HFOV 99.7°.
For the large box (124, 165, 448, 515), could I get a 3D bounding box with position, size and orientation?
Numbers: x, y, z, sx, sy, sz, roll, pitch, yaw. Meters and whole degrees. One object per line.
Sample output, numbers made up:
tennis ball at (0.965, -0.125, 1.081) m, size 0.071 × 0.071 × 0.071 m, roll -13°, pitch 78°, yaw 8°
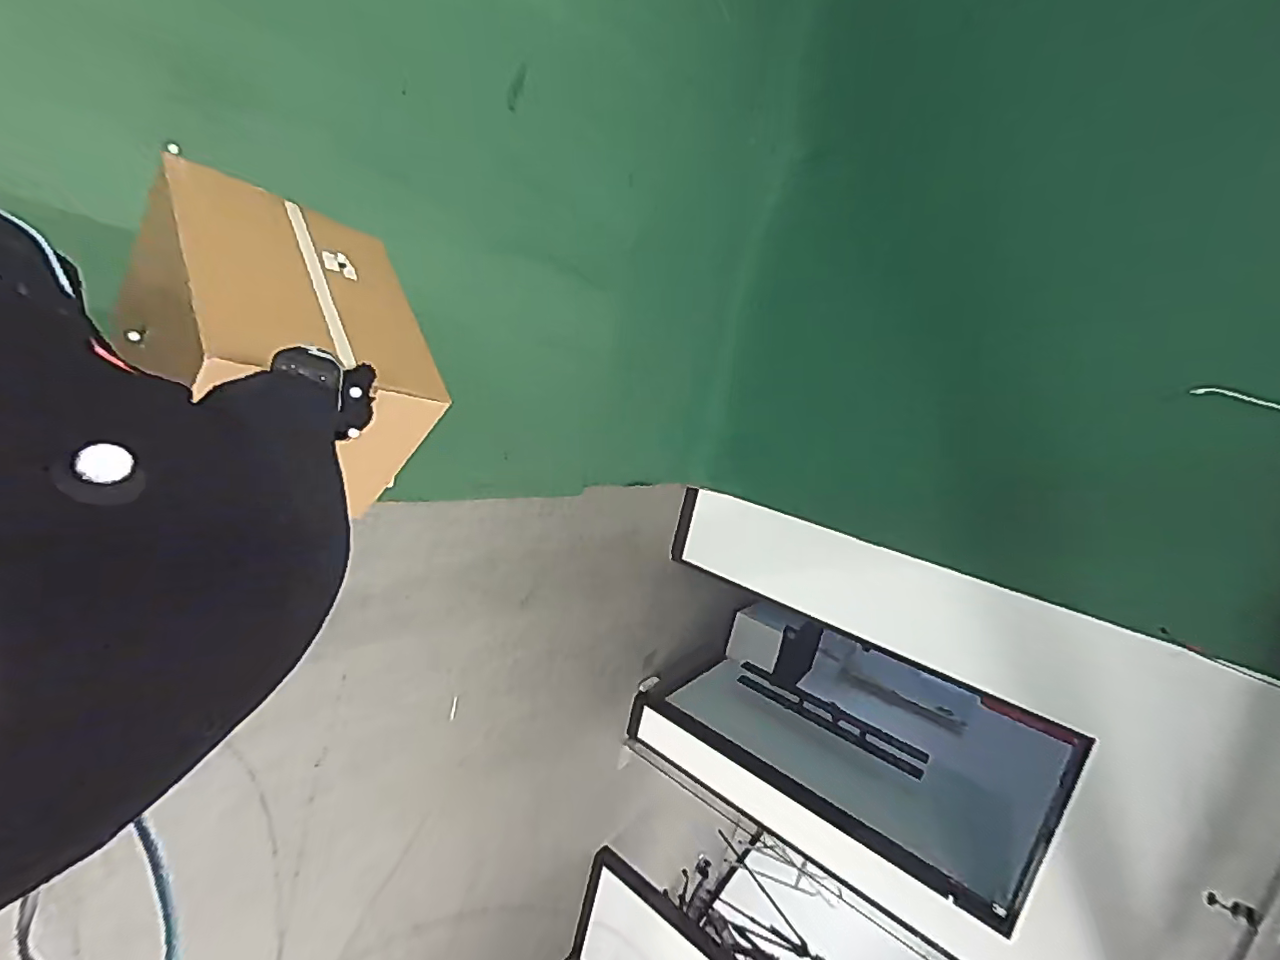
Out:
large box at (-0.579, -0.190, 0.871) m, size 0.320 × 0.408 × 0.320 m, roll -43°, pitch 154°, yaw 26°
